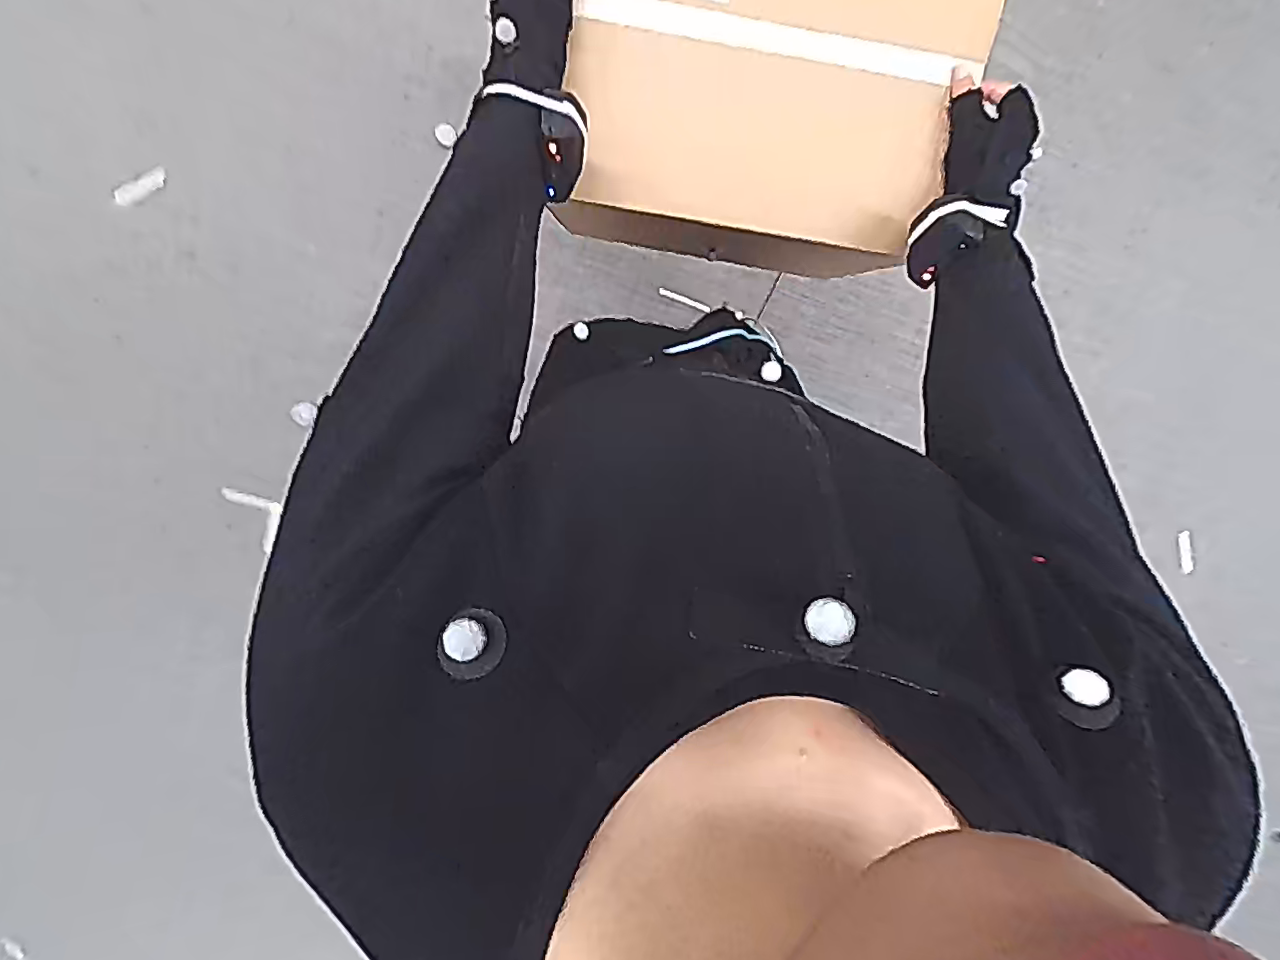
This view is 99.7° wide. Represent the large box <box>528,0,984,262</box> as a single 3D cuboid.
[{"bbox_3d":[0.109,-0.456,0.639,0.408,0.320,0.320,9,107,-2],"label":"large box"}]
